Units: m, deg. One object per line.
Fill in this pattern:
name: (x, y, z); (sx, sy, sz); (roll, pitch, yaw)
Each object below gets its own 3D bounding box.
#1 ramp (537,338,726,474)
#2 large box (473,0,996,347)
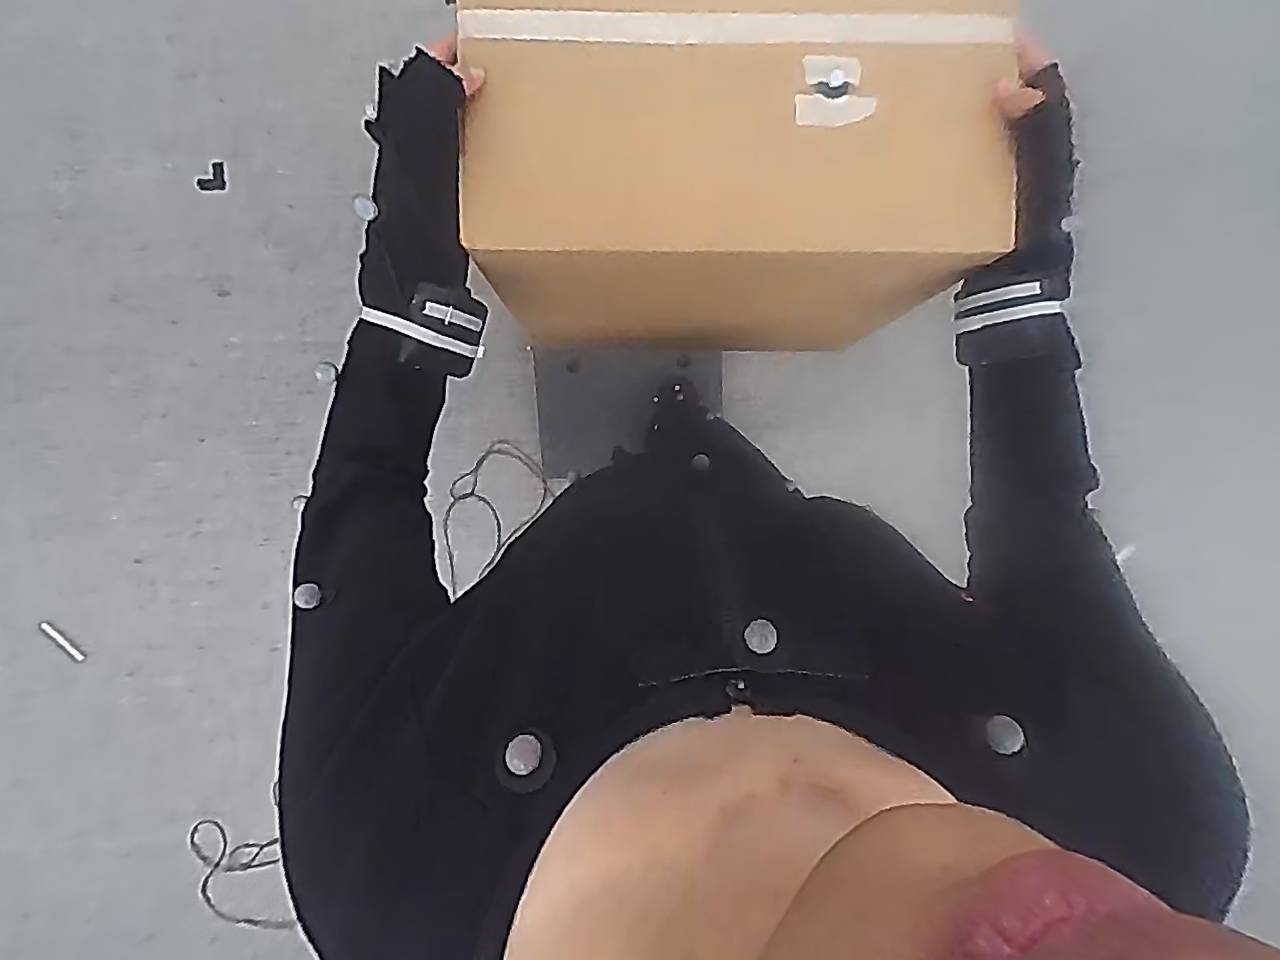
ramp: (-0.028, -0.513, 1.367); (0.509, 0.206, 0.991); (-5, 94, -3)
large box: (0.068, -0.331, 0.559); (0.408, 0.320, 0.320); (0, 90, -2)
